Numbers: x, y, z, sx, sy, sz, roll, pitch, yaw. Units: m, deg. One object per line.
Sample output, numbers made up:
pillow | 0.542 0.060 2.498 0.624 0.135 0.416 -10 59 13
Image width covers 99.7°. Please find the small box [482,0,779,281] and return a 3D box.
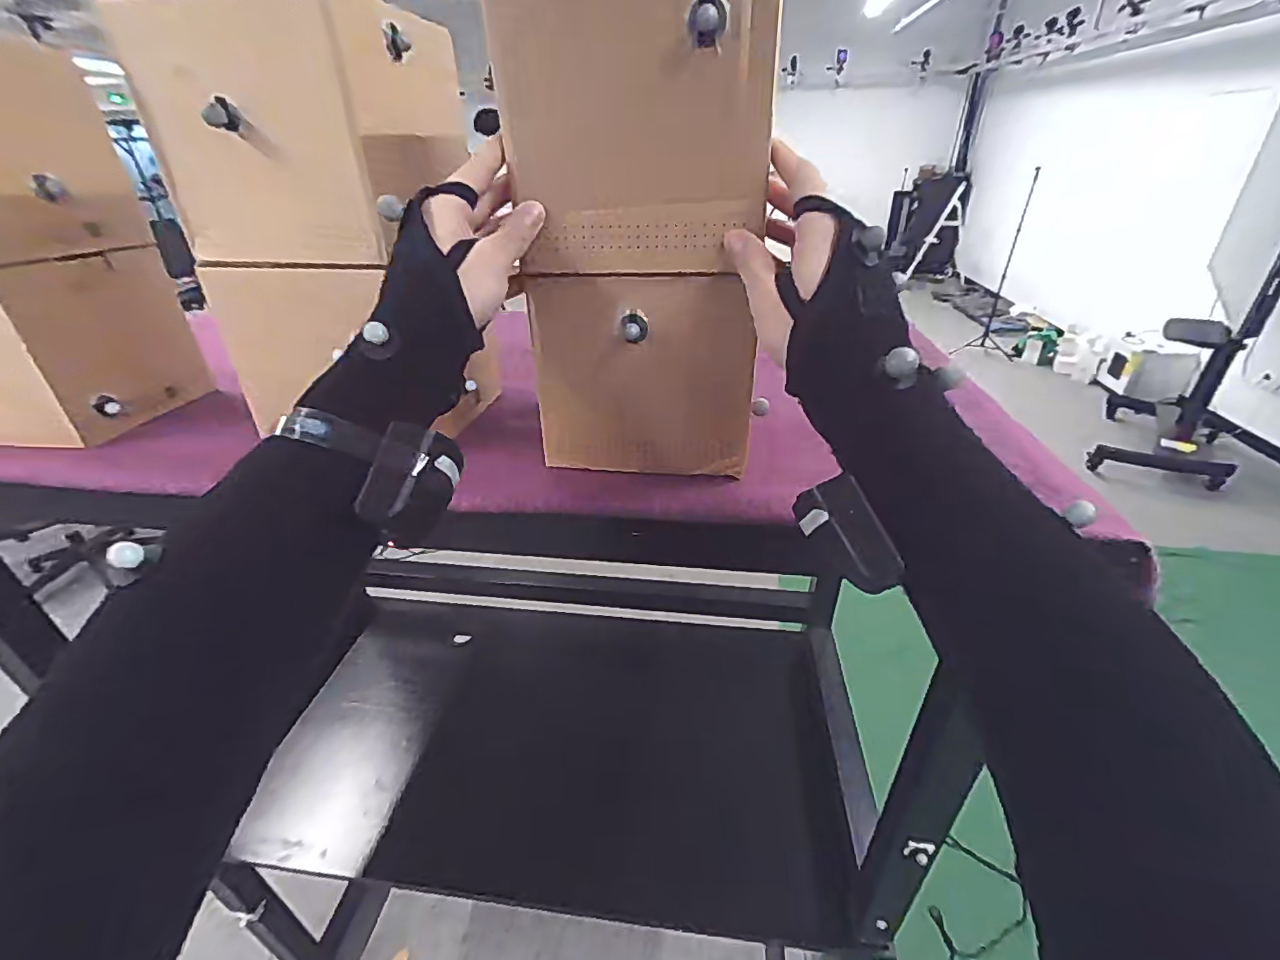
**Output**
small box | 0.007 -0.249 0.406 0.179 0.176 0.168 4 31 9

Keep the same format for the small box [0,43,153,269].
small box | -0.609 -0.282 0.479 0.179 0.176 0.168 3 31 7

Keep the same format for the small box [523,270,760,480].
small box | 0.015 -0.111 0.490 0.179 0.176 0.168 4 31 10

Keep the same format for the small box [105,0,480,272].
small box | -0.258 -0.274 0.452 0.179 0.176 0.168 4 31 9

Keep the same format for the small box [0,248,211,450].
small box | -0.608 -0.139 0.561 0.179 0.176 0.168 1 30 6
